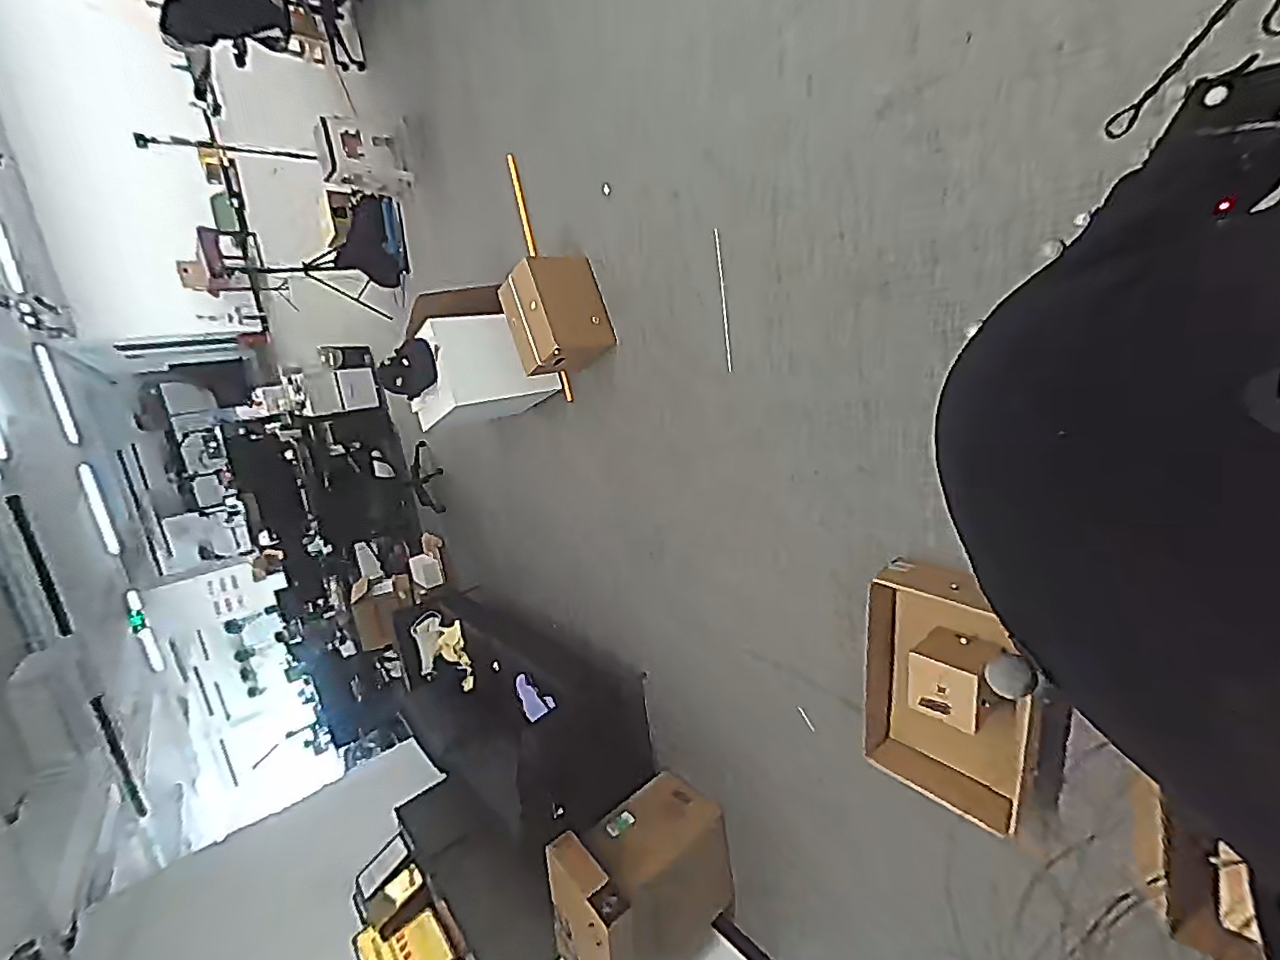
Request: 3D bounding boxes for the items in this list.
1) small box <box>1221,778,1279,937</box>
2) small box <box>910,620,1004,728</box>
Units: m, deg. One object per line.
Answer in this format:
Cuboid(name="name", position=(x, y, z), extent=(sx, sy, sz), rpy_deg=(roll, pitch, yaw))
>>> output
Cuboid(name="small box", position=(1.107, 0.648, 0.910), extent=(0.168, 0.176, 0.179), rpy_deg=(1, 103, 52))
Cuboid(name="small box", position=(0.830, 0.499, 1.417), extent=(0.168, 0.176, 0.179), rpy_deg=(12, 114, 50))
